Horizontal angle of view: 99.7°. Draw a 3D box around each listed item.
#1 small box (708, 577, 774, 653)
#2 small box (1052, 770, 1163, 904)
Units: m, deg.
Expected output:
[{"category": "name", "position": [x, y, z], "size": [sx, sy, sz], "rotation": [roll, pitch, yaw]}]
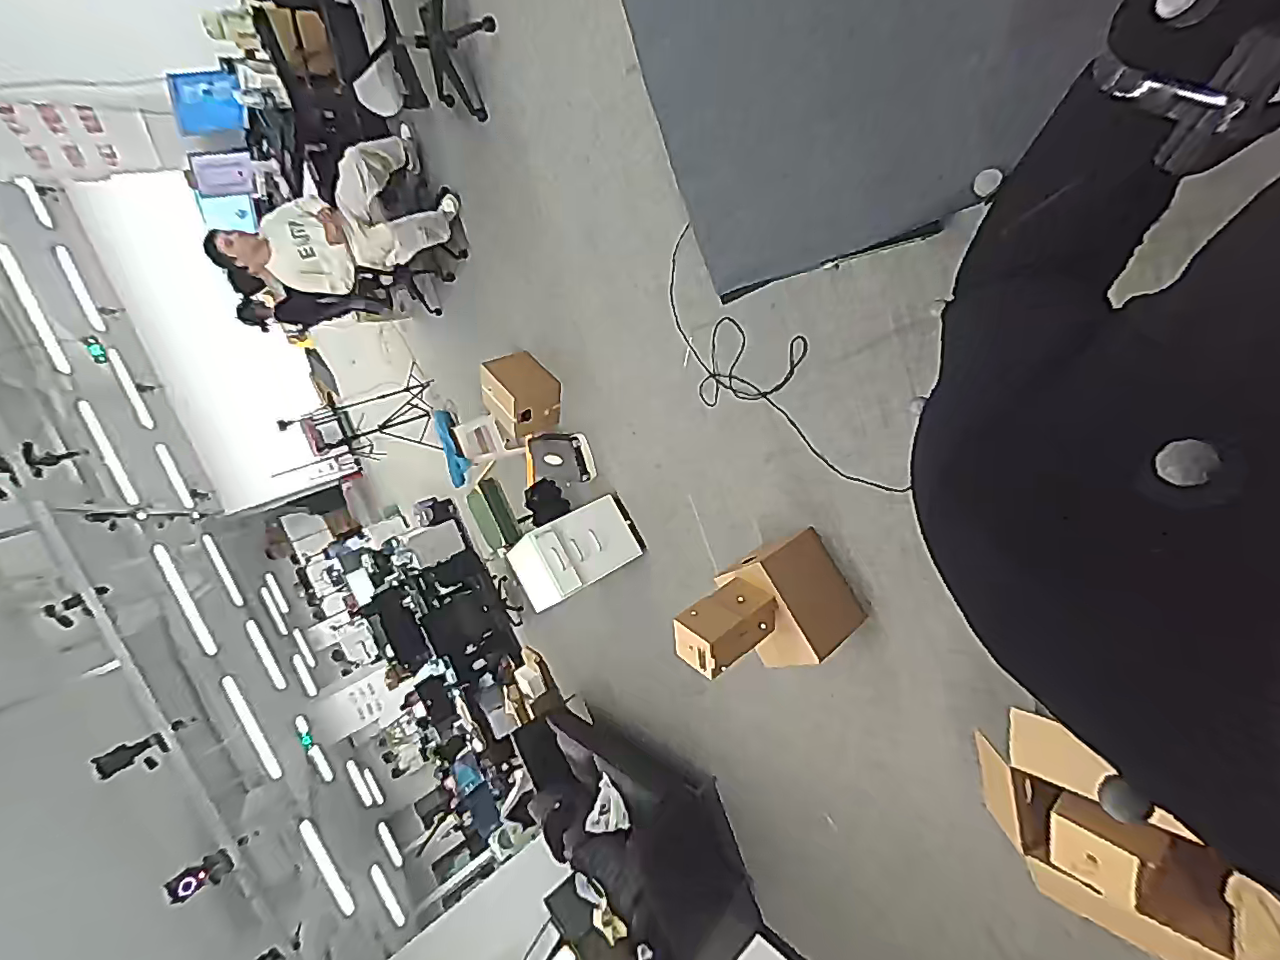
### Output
[{"category": "small box", "position": [0.369, 0.479, 1.953], "size": [0.179, 0.176, 0.168], "rotation": [23, 129, 44]}, {"category": "small box", "position": [1.139, 0.858, 1.320], "size": [0.168, 0.176, 0.179], "rotation": [14, 123, 56]}]
